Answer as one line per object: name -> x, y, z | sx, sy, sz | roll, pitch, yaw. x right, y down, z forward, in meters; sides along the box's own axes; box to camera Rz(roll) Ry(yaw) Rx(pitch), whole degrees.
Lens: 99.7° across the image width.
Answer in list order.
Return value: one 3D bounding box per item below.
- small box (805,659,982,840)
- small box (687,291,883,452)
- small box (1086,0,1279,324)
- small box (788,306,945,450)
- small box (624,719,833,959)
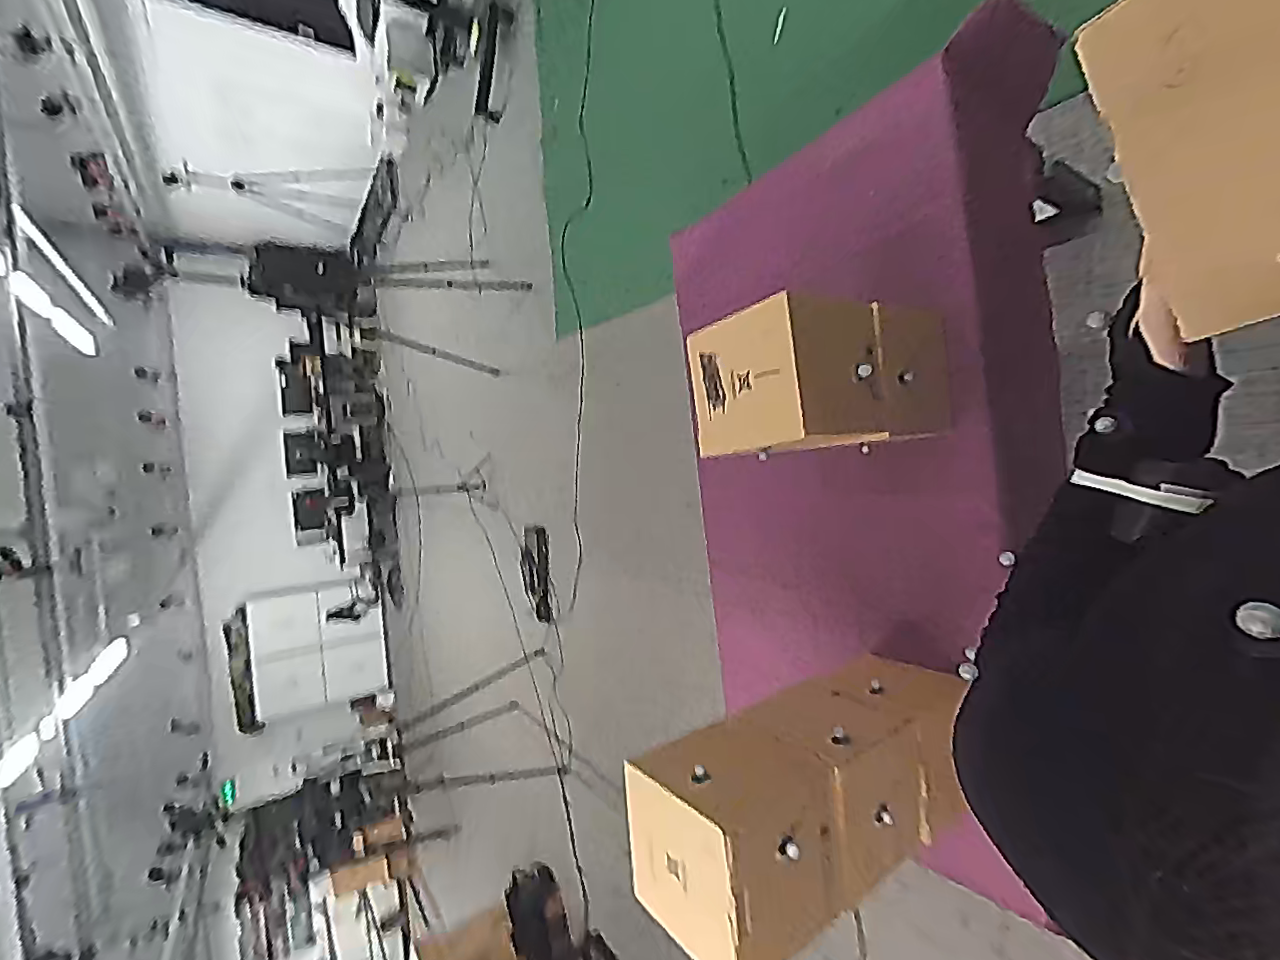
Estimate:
small box -> 0.373, 0.378, 0.802 | 0.179, 0.176, 0.168 | -5, 90, 54
small box -> 0.187, -0.128, 0.709 | 0.179, 0.176, 0.168 | -9, 87, 54
small box -> 0.364, -0.204, 0.273 | 0.168, 0.176, 0.179 | -17, 99, 52
small box -> 0.326, -0.142, 0.797 | 0.168, 0.176, 0.179 | -4, 91, 54
small box -> 0.103, 0.399, 0.617 | 0.179, 0.176, 0.168 | -3, 91, 55
